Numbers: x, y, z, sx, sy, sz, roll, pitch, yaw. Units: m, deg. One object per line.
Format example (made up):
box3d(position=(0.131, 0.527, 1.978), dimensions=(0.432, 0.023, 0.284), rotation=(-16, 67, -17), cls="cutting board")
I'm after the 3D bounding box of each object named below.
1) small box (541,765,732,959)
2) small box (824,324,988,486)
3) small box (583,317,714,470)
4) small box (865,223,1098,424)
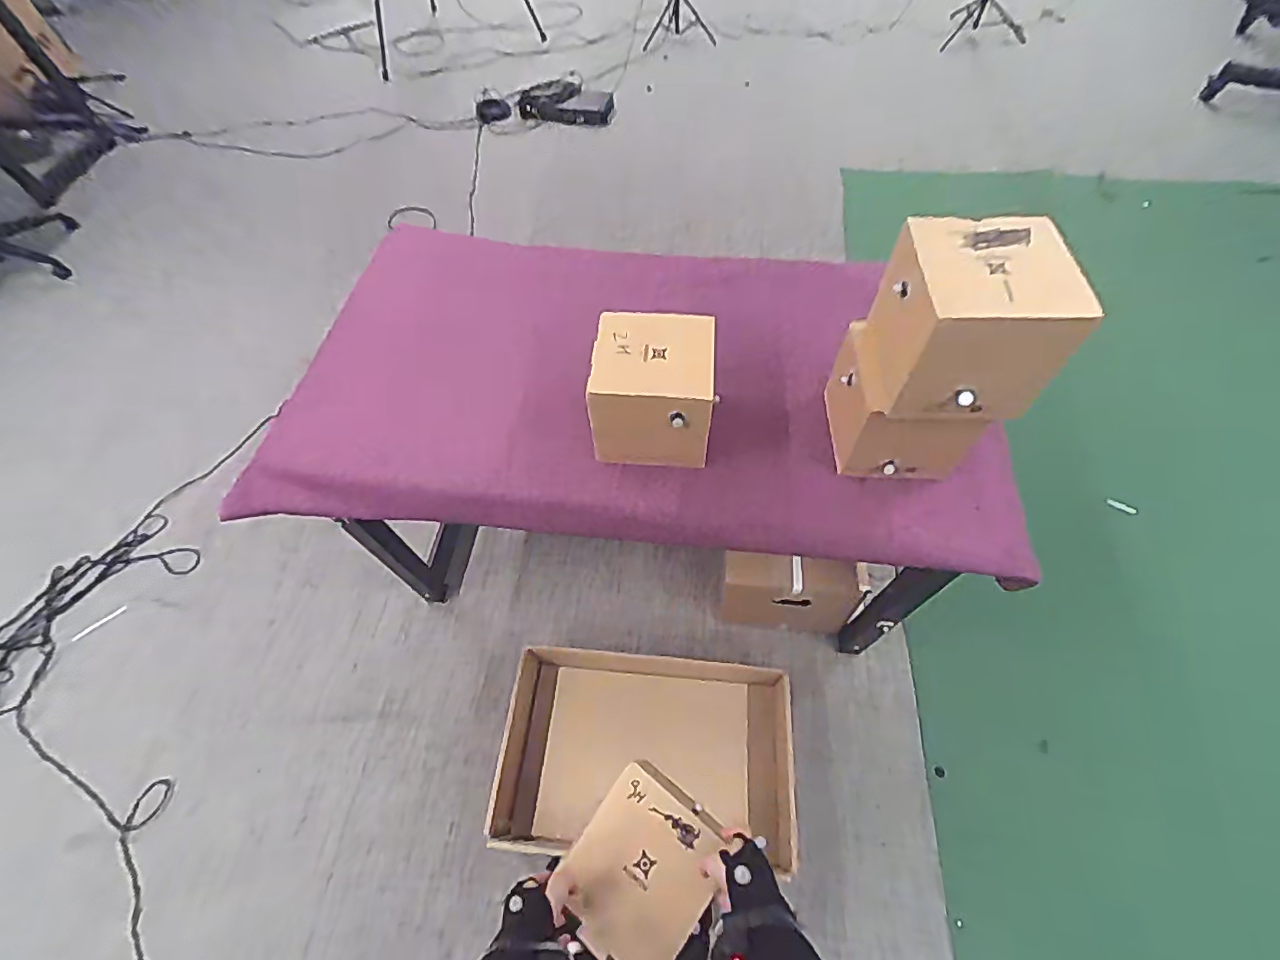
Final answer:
box3d(position=(0.007, 0.504, 0.706), dimensions=(0.168, 0.176, 0.179), rotation=(34, 72, 22), cls="small box")
box3d(position=(0.384, -0.111, 0.810), dimensions=(0.168, 0.176, 0.179), rotation=(1, 57, 5), cls="small box")
box3d(position=(0.018, -0.128, 0.835), dimensions=(0.179, 0.176, 0.168), rotation=(3, 57, 5), cls="small box")
box3d(position=(0.392, -0.190, 0.664), dimensions=(0.168, 0.176, 0.179), rotation=(1, 57, 5), cls="small box")
